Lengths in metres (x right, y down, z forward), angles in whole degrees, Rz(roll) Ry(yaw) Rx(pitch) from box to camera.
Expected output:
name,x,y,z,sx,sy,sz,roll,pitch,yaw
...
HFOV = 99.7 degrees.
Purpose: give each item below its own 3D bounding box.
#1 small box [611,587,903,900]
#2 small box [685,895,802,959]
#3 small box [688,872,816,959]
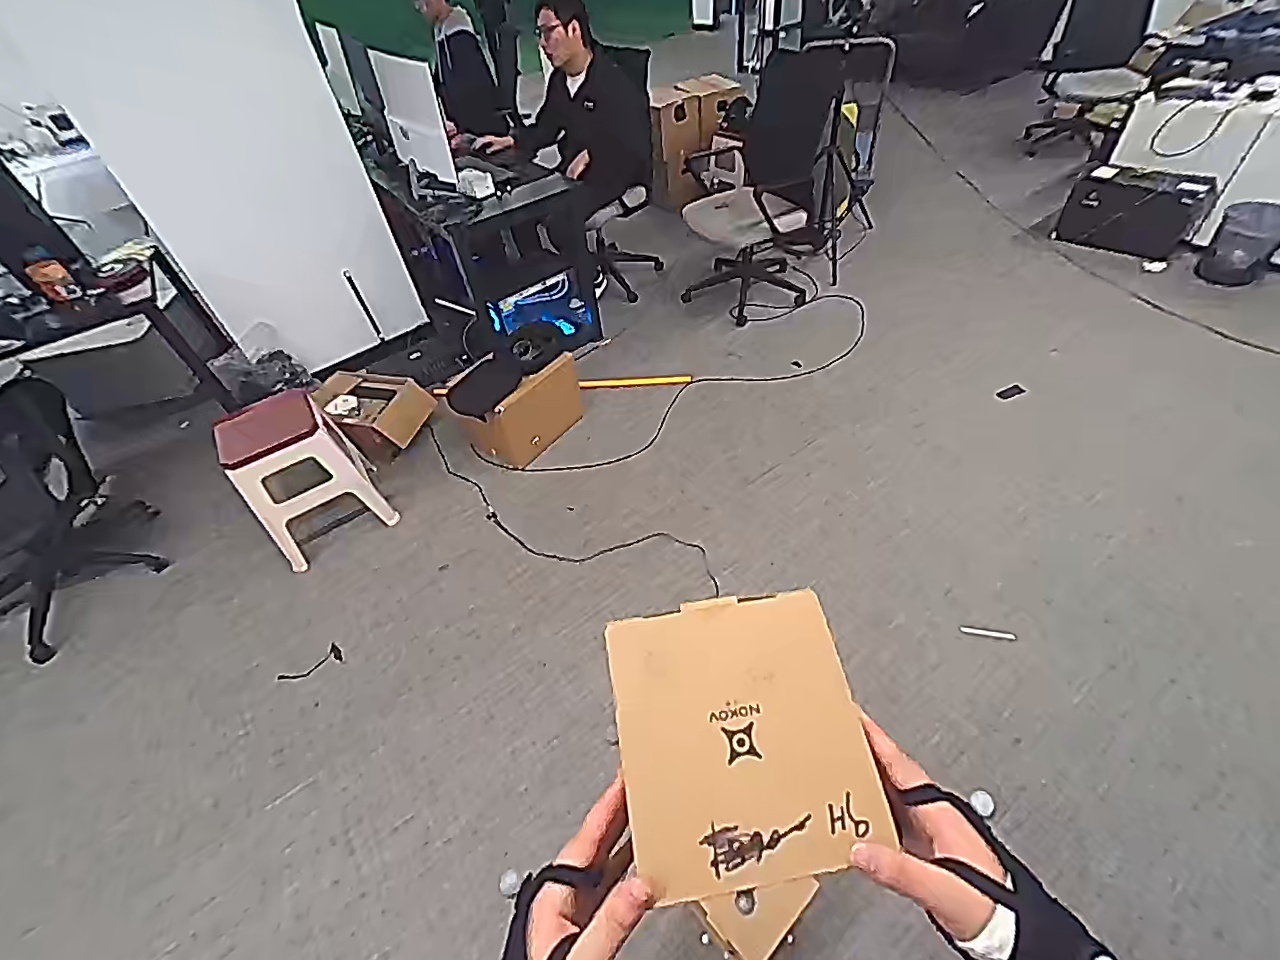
name,x,y,z,sx,sy,sz,roll,pitch,yaw
small box,0.070,0.207,0.437,0.168,0.176,0.179,-9,60,-4
small box,0.208,0.870,1.114,0.179,0.176,0.168,-35,52,-21
small box,0.197,0.756,0.999,0.179,0.176,0.168,-36,54,-25
